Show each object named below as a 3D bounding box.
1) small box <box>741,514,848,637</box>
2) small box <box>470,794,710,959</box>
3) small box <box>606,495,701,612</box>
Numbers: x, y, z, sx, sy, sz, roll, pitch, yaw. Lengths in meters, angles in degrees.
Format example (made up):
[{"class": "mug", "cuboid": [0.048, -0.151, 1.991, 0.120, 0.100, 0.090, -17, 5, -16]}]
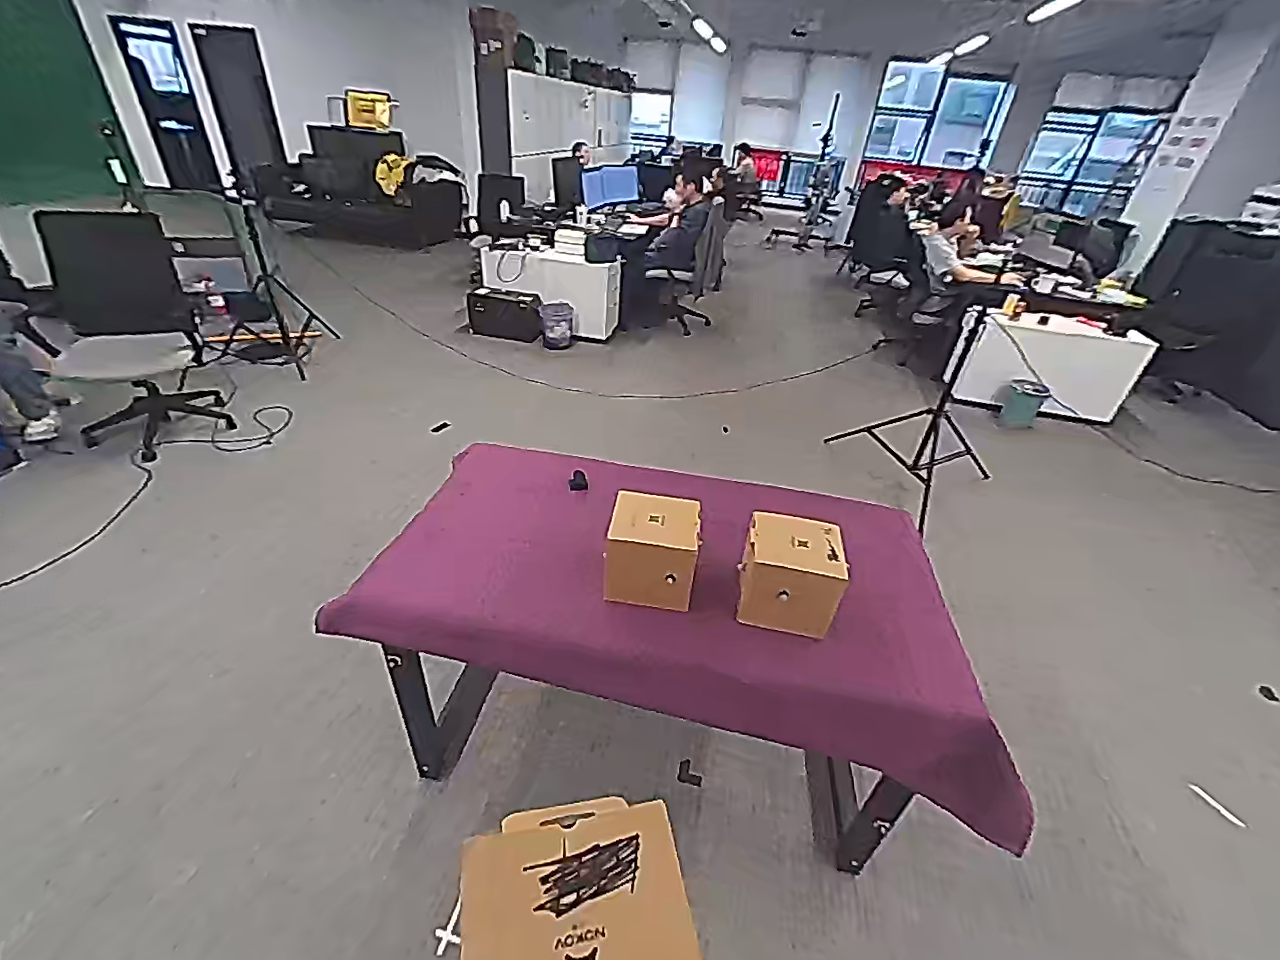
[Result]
[{"class": "small box", "cuboid": [0.304, 0.194, 1.099, 0.179, 0.176, 0.168, 9, 34, 7]}, {"class": "small box", "cuboid": [-0.048, 0.388, 0.428, 0.168, 0.176, 0.179, -2, 40, -17]}, {"class": "small box", "cuboid": [0.029, 0.154, 1.126, 0.179, 0.176, 0.168, 6, 32, 3]}]
